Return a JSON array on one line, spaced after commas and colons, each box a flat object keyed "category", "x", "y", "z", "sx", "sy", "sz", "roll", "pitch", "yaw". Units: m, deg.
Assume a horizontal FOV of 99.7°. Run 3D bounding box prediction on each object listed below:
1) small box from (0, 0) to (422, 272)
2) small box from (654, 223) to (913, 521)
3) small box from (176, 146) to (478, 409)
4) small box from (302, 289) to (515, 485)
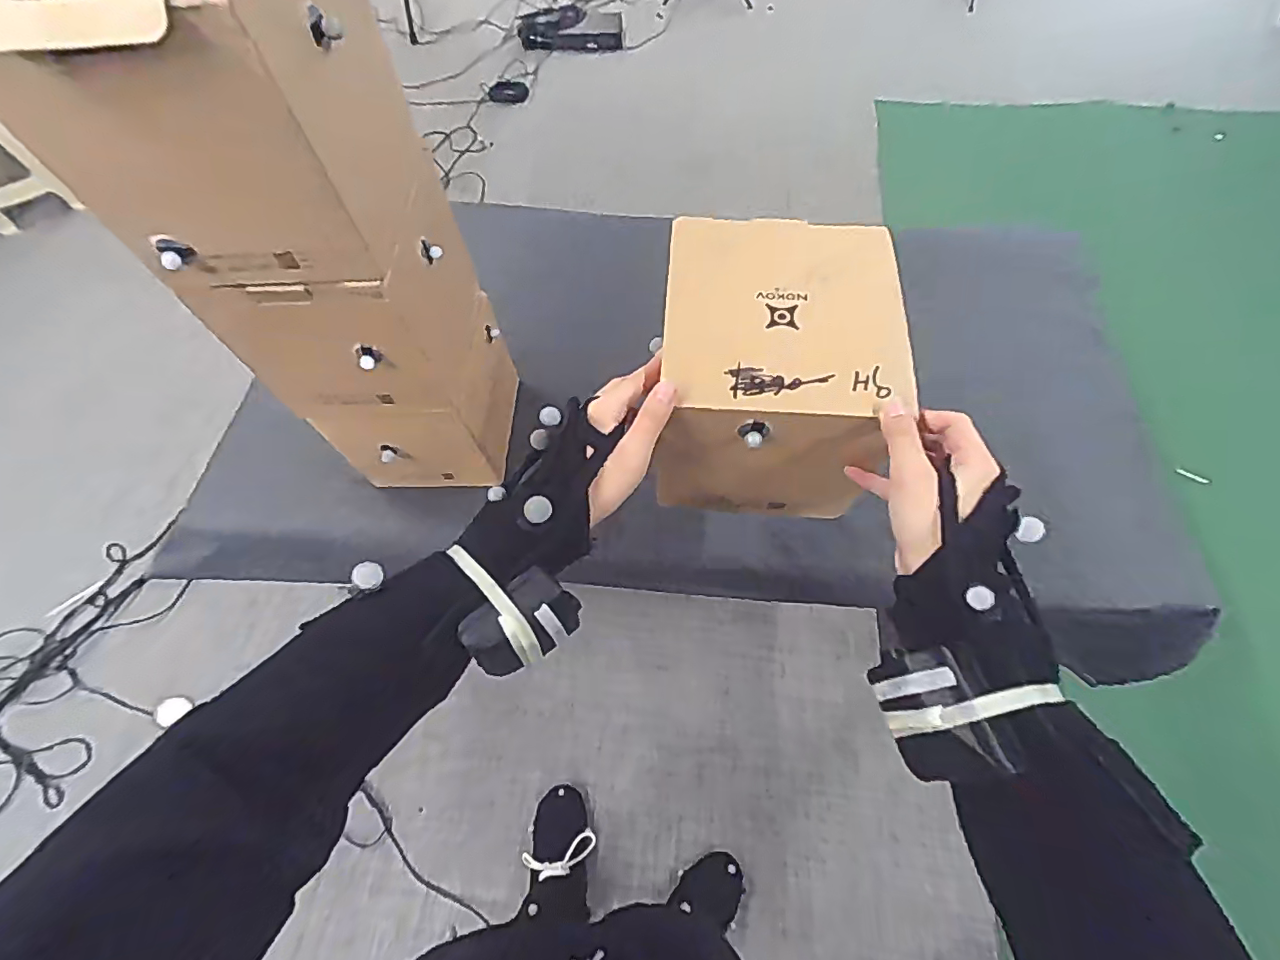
[{"category": "small box", "x": -0.268, "y": -0.261, "z": 0.367, "sx": 0.168, "sy": 0.176, "sz": 0.179, "roll": -1, "pitch": 60, "yaw": 0}, {"category": "small box", "x": 0.100, "y": -0.083, "z": 0.454, "sx": 0.168, "sy": 0.176, "sz": 0.179, "roll": 4, "pitch": 64, "yaw": 3}, {"category": "small box", "x": -0.264, "y": -0.180, "z": 0.510, "sx": 0.168, "sy": 0.176, "sz": 0.179, "roll": 0, "pitch": 60, "yaw": 1}, {"category": "small box", "x": -0.257, "y": -0.104, "z": 0.654, "sx": 0.168, "sy": 0.176, "sz": 0.179, "roll": 0, "pitch": 61, "yaw": 2}]
